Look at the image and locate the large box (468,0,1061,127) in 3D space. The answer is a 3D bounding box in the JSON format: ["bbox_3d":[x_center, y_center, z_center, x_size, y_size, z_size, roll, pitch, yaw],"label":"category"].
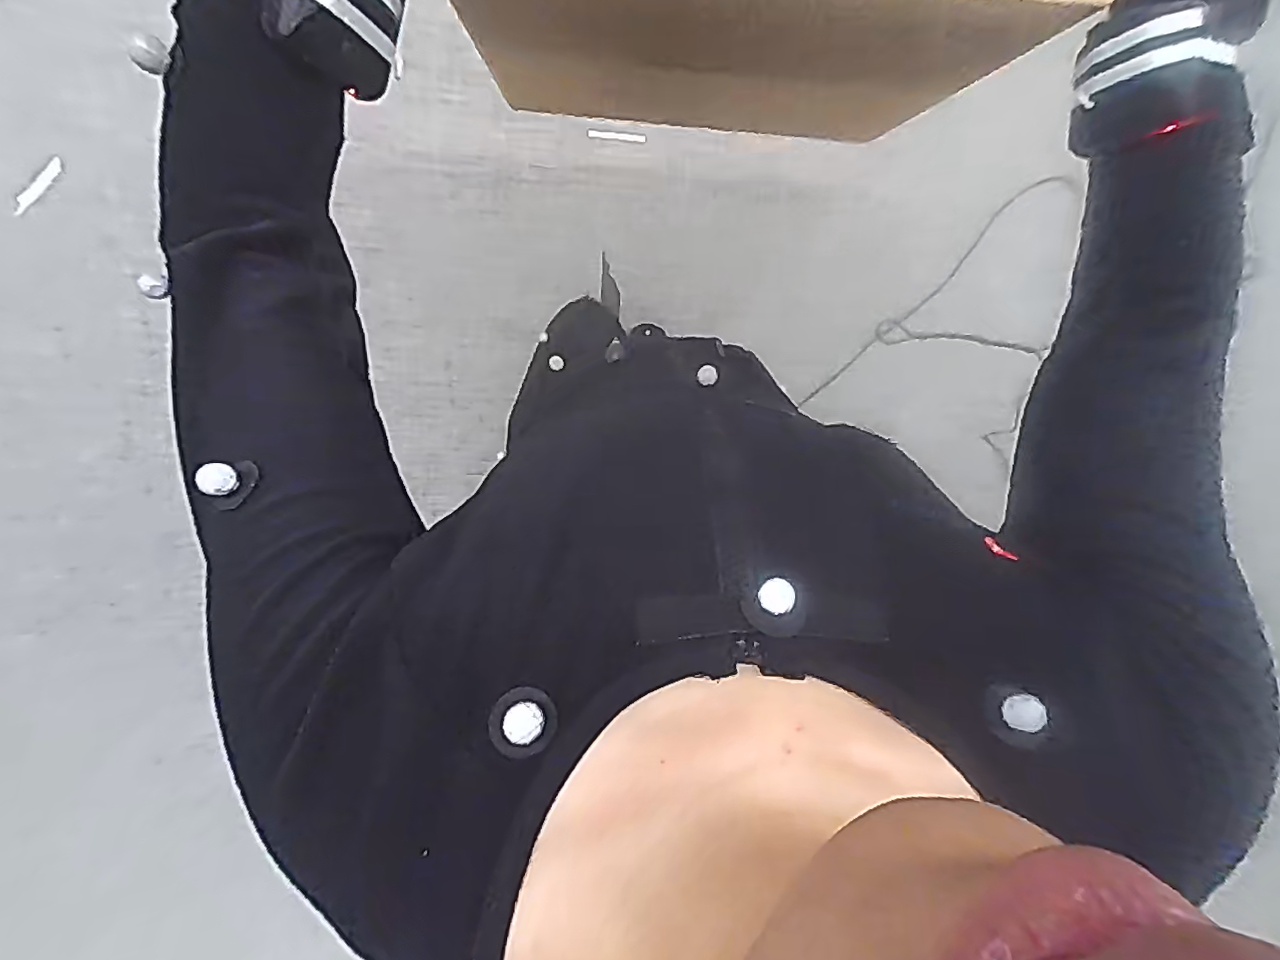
[{"bbox_3d":[0.075,-0.493,0.407,0.408,0.320,0.320,1,110,-4],"label":"large box"}]
